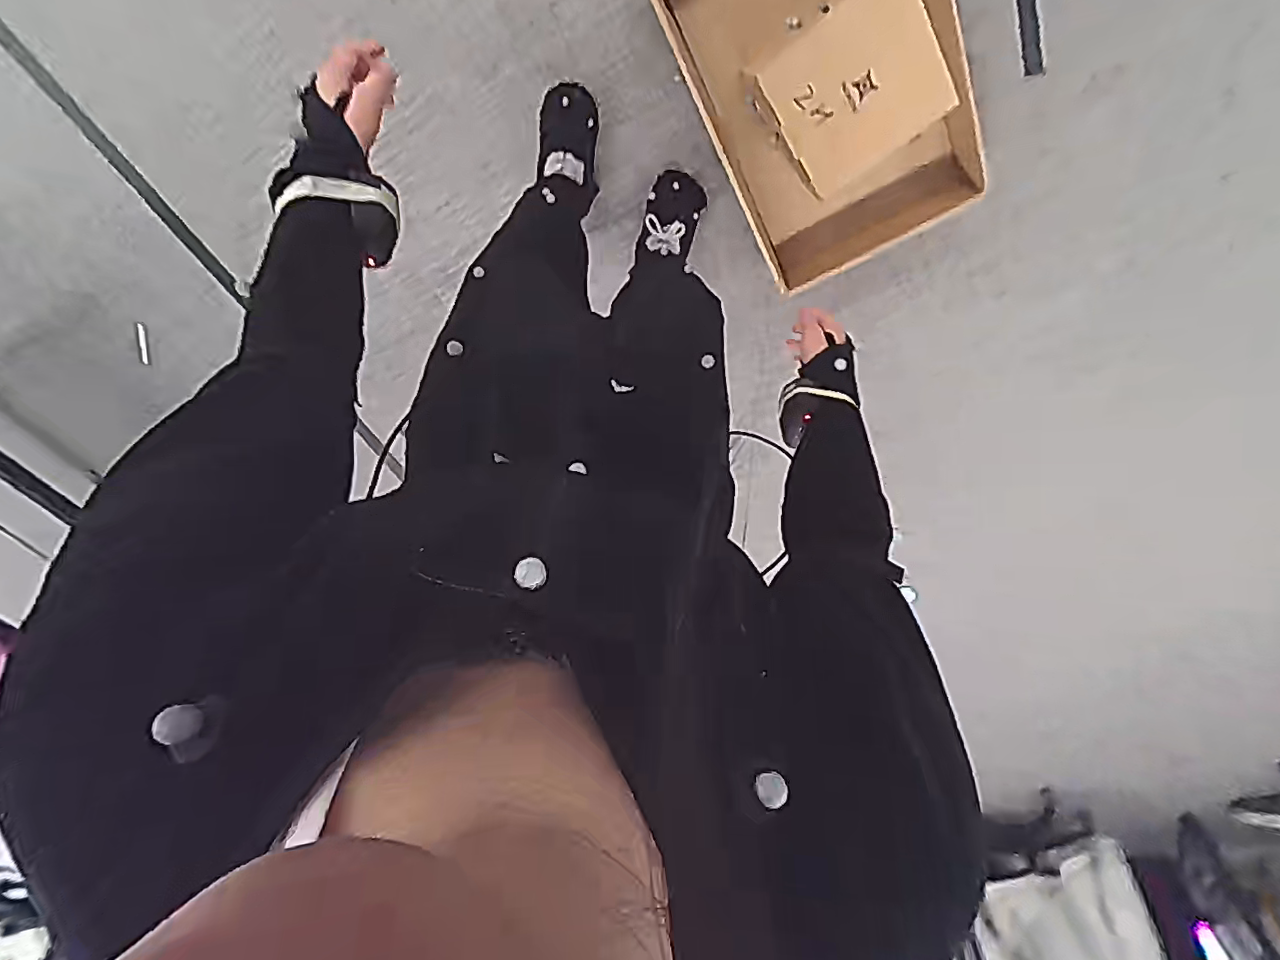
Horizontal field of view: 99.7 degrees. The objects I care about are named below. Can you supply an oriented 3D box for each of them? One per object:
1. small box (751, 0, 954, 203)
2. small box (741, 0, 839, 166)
[{"bbox_3d":[0.259,-0.498,0.694,0.179,0.176,0.168,-29,118,25],"label":"small box"},{"bbox_3d":[0.291,-0.697,0.955,0.179,0.176,0.168,-26,120,26],"label":"small box"}]
